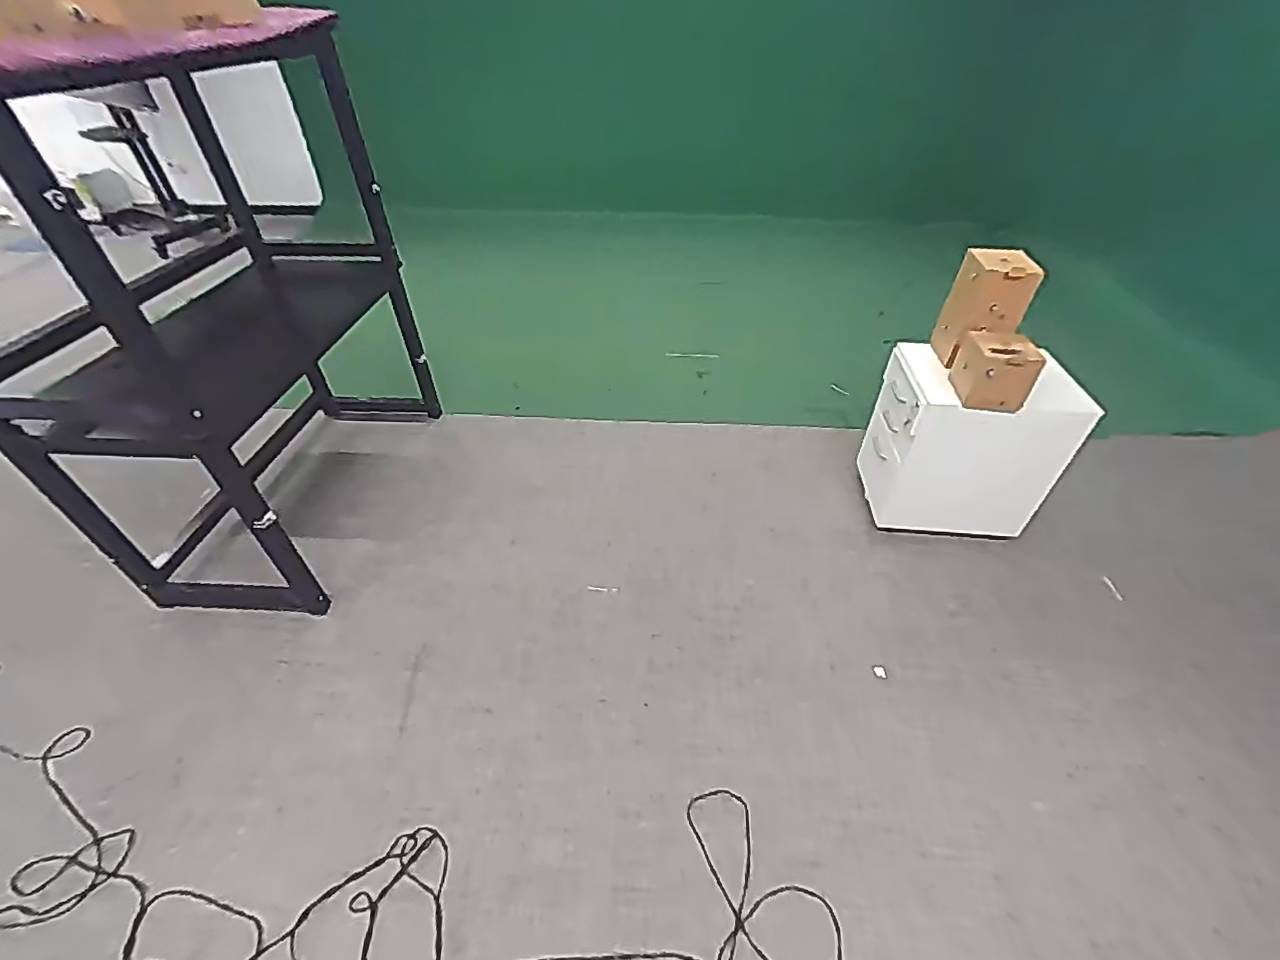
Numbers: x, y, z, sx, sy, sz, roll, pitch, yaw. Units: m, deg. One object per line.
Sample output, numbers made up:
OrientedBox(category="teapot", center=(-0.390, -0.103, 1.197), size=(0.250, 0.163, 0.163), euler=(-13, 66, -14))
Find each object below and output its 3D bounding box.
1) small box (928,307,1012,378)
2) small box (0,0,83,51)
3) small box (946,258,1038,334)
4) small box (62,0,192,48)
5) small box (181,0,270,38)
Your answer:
OrientedBox(category="small box", center=(1.103, -0.465, 1.828), size=(0.168, 0.176, 0.179), euler=(4, 42, 4))
OrientedBox(category="small box", center=(-1.133, -0.835, 0.916), size=(0.179, 0.176, 0.168), euler=(2, 40, 2))
OrientedBox(category="small box", center=(1.107, -0.587, 1.719), size=(0.168, 0.176, 0.179), euler=(5, 44, 5))
OrientedBox(category="small box", center=(-1.122, -1.044, 1.160), size=(0.168, 0.176, 0.179), euler=(1, 42, 2))
OrientedBox(category="small box", center=(-1.125, -1.276, 1.421), size=(0.168, 0.176, 0.179), euler=(2, 41, 5))
